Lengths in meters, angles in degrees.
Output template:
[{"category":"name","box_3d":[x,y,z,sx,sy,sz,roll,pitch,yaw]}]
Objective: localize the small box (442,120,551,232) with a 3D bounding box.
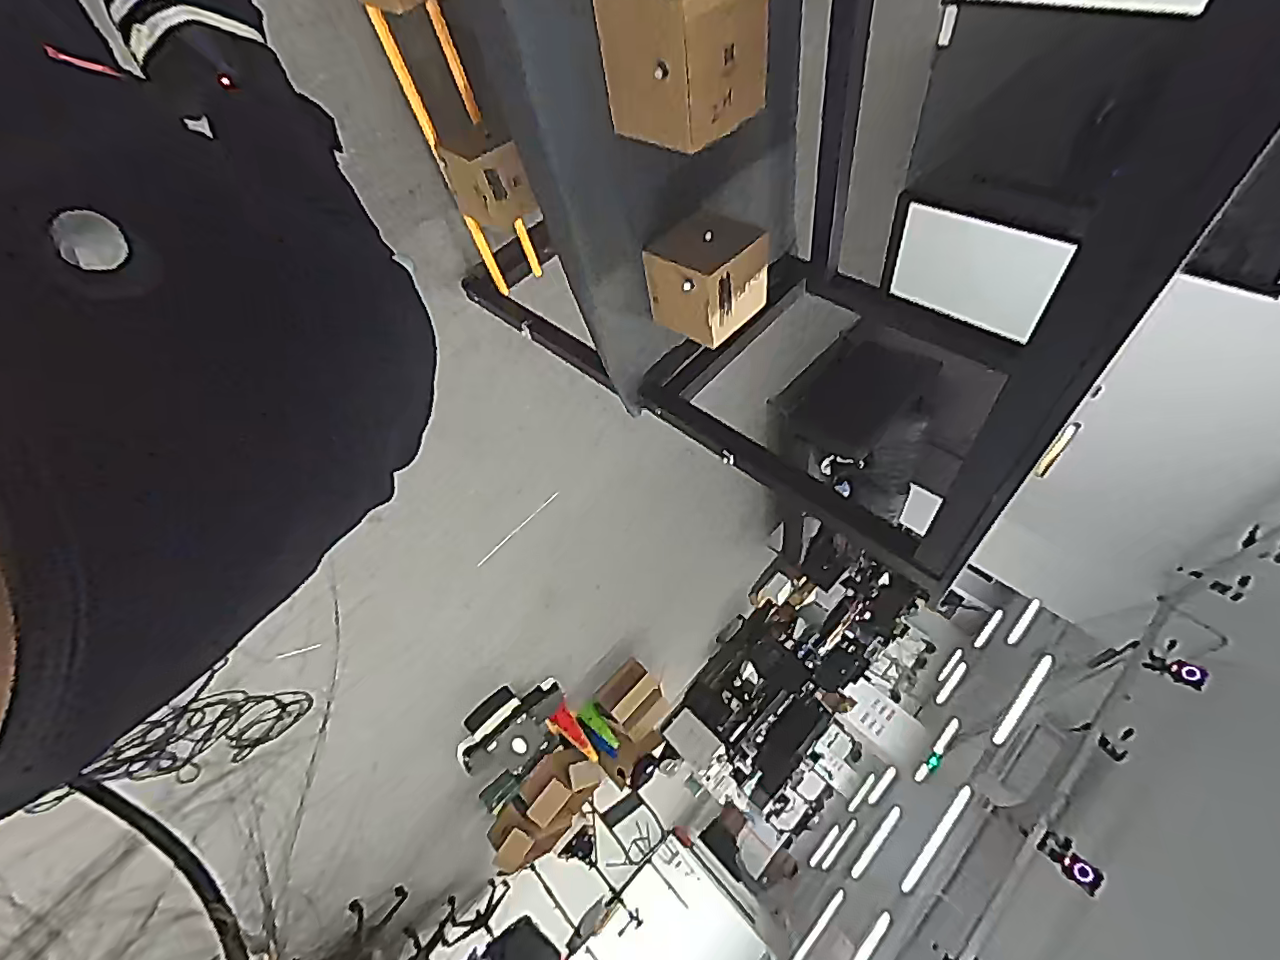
[{"category":"small box","box_3d":[-0.347,-0.732,1.296,0.179,0.176,0.168,-41,148,-20]}]

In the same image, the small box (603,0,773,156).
[{"category":"small box","box_3d":[0.067,-0.597,0.764,0.168,0.176,0.179,-41,148,-20]}]
